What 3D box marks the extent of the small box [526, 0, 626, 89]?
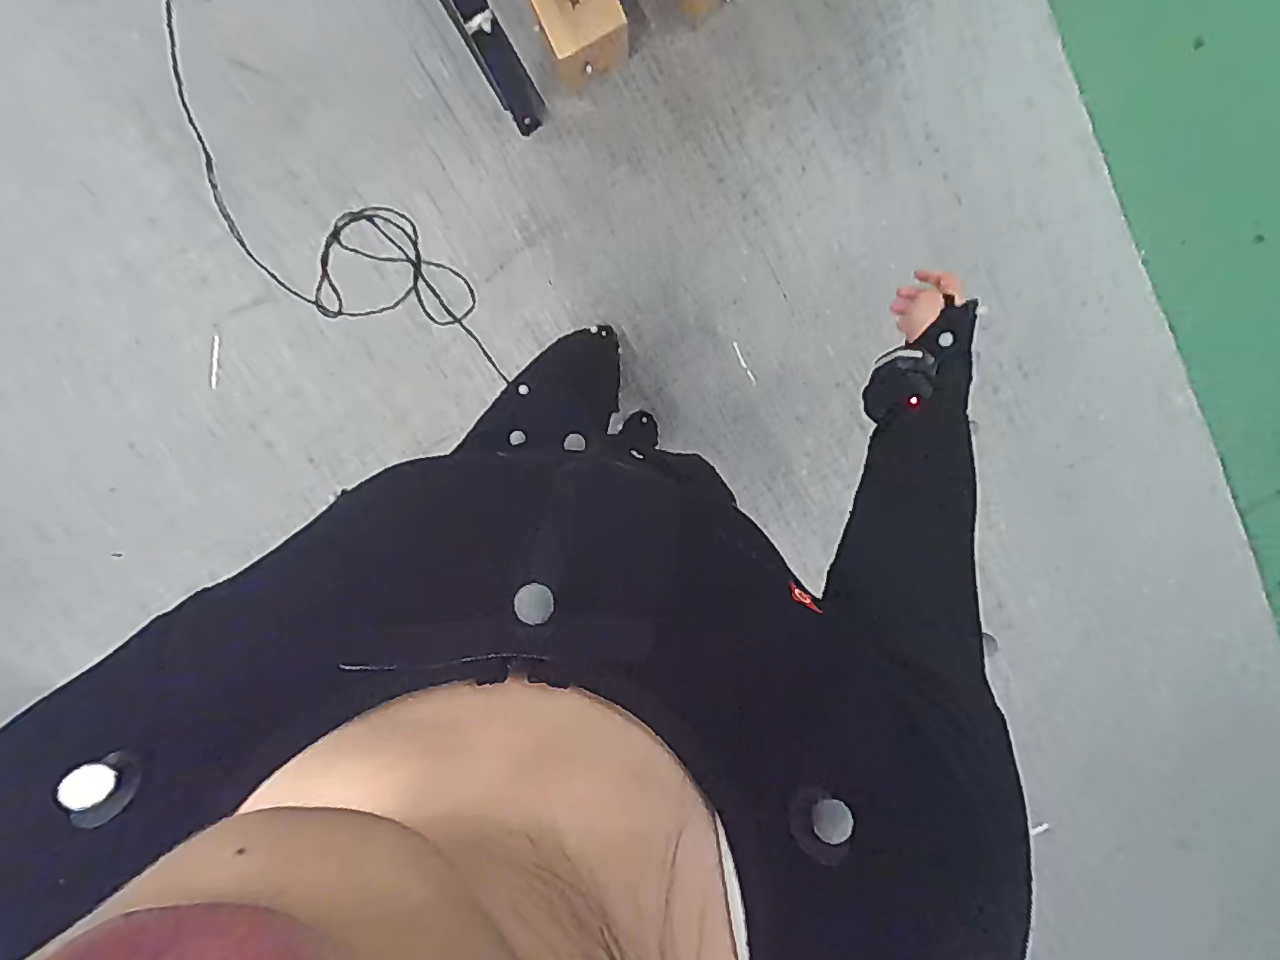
[{"bbox_3d":[-0.139,-1.014,1.198,0.168,0.176,0.179,-26,100,6],"label":"small box"}]
